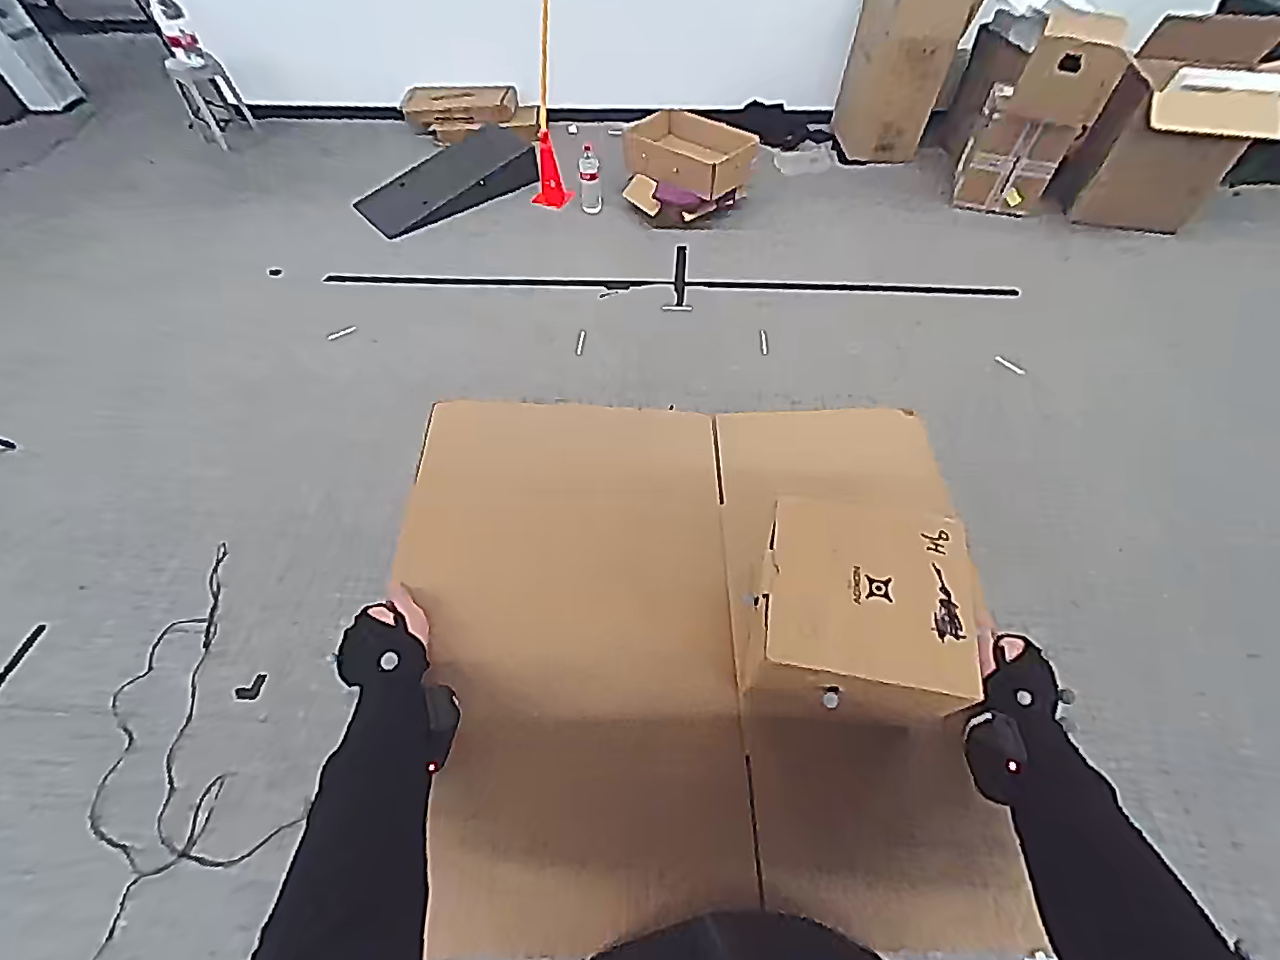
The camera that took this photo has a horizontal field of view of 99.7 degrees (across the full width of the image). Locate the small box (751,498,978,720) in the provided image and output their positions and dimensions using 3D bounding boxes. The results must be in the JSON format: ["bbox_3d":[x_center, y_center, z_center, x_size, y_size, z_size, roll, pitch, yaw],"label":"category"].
[{"bbox_3d":[0.214,0.139,0.561,0.179,0.176,0.168,7,59,10],"label":"small box"}]
